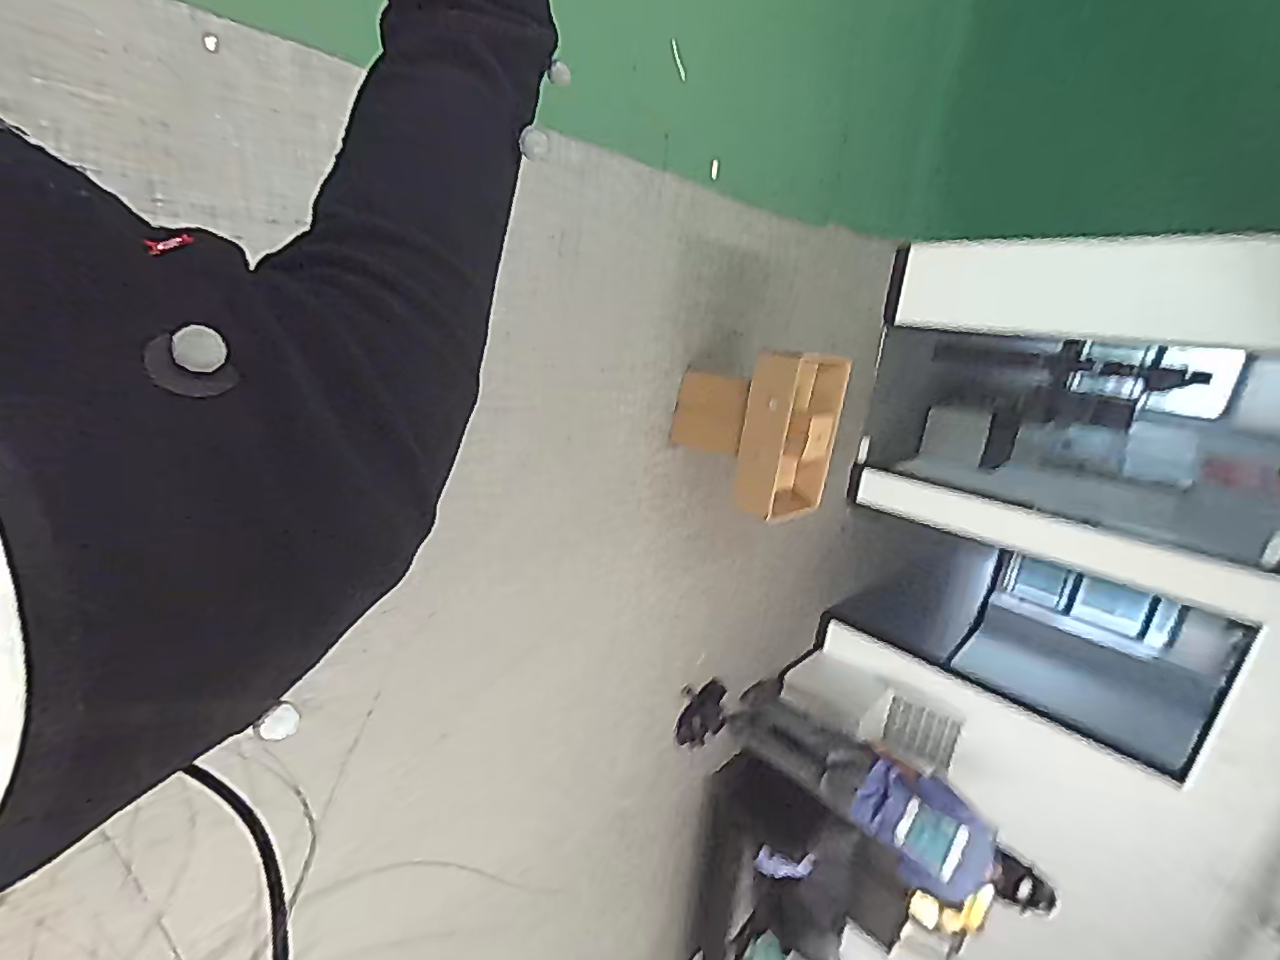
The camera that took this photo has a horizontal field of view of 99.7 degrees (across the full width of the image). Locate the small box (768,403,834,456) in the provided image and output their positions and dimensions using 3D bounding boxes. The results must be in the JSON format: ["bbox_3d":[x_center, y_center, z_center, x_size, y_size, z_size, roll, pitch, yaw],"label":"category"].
[{"bbox_3d":[0.612,-0.198,2.068,0.179,0.176,0.168,-12,116,-46],"label":"small box"}]
